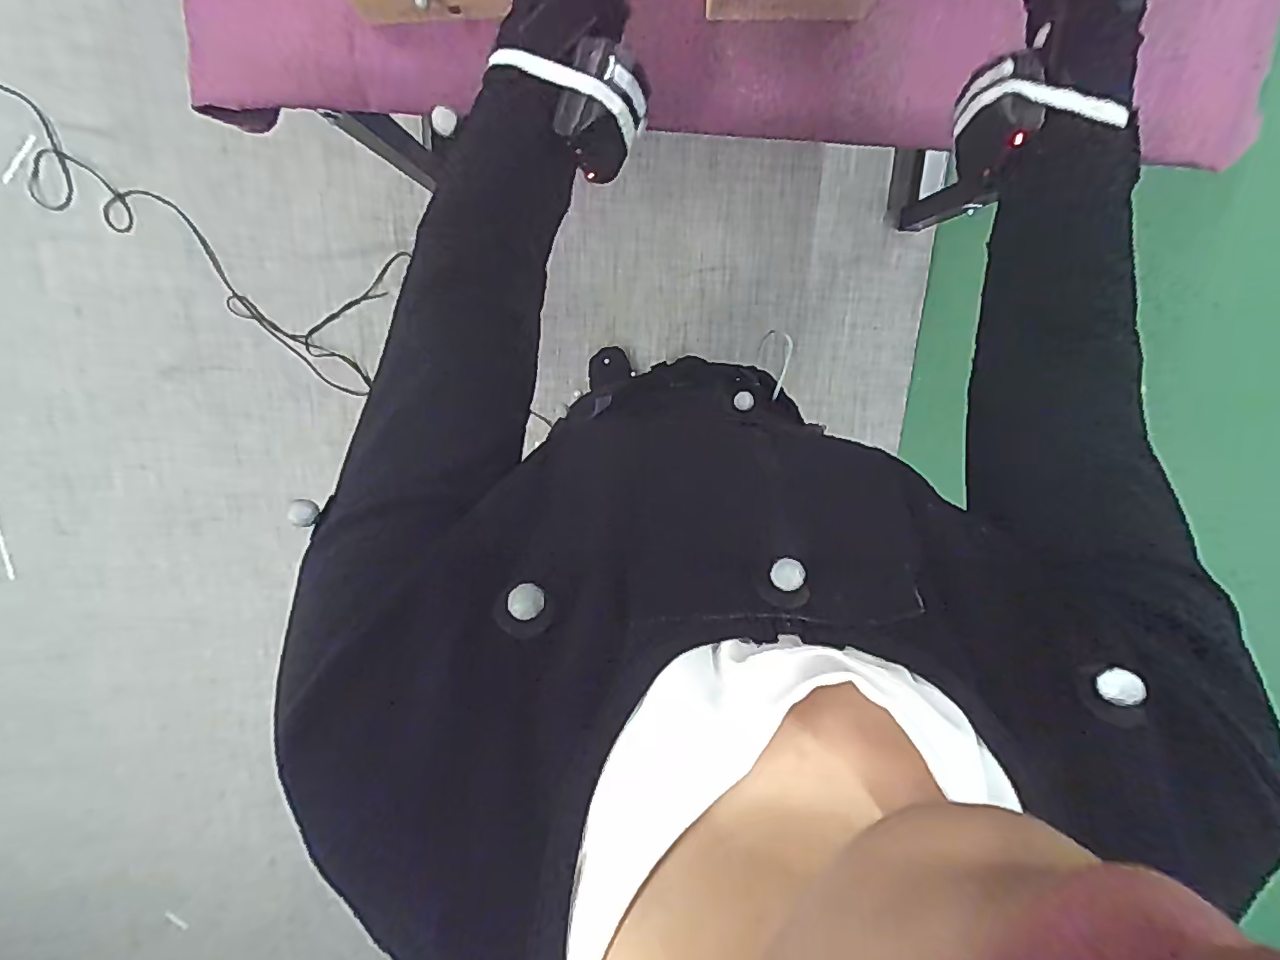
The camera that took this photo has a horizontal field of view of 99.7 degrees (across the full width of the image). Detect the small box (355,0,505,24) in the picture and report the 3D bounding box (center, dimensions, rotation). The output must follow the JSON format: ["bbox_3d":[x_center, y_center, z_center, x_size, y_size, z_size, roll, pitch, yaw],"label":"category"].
[{"bbox_3d":[-0.230,-0.576,0.504,0.168,0.176,0.179,-3,104,-1],"label":"small box"}]
